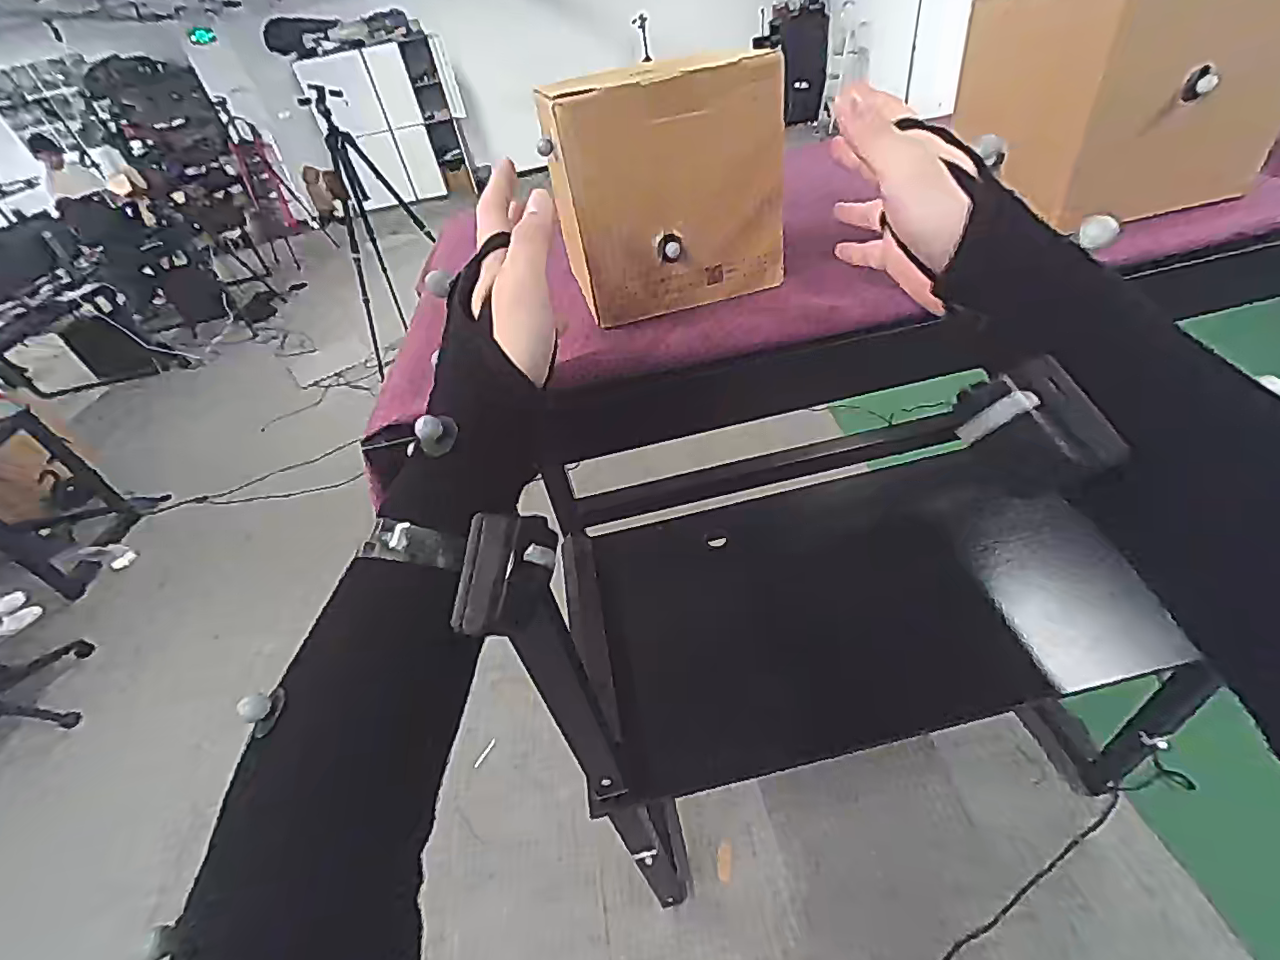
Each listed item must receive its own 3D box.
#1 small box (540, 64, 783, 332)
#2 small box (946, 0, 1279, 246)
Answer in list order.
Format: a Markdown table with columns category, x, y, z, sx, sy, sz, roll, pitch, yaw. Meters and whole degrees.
| category | x | y | z | sx | sy | sz | roll | pitch | yaw |
| --- | --- | --- | --- | --- | --- | --- | --- | --- | --- |
| small box | 0.015 | -0.254 | 0.487 | 0.168 | 0.176 | 0.179 | -15 | 39 | -4 |
| small box | 0.402 | -0.323 | 0.466 | 0.179 | 0.176 | 0.168 | -13 | 38 | 0 |
